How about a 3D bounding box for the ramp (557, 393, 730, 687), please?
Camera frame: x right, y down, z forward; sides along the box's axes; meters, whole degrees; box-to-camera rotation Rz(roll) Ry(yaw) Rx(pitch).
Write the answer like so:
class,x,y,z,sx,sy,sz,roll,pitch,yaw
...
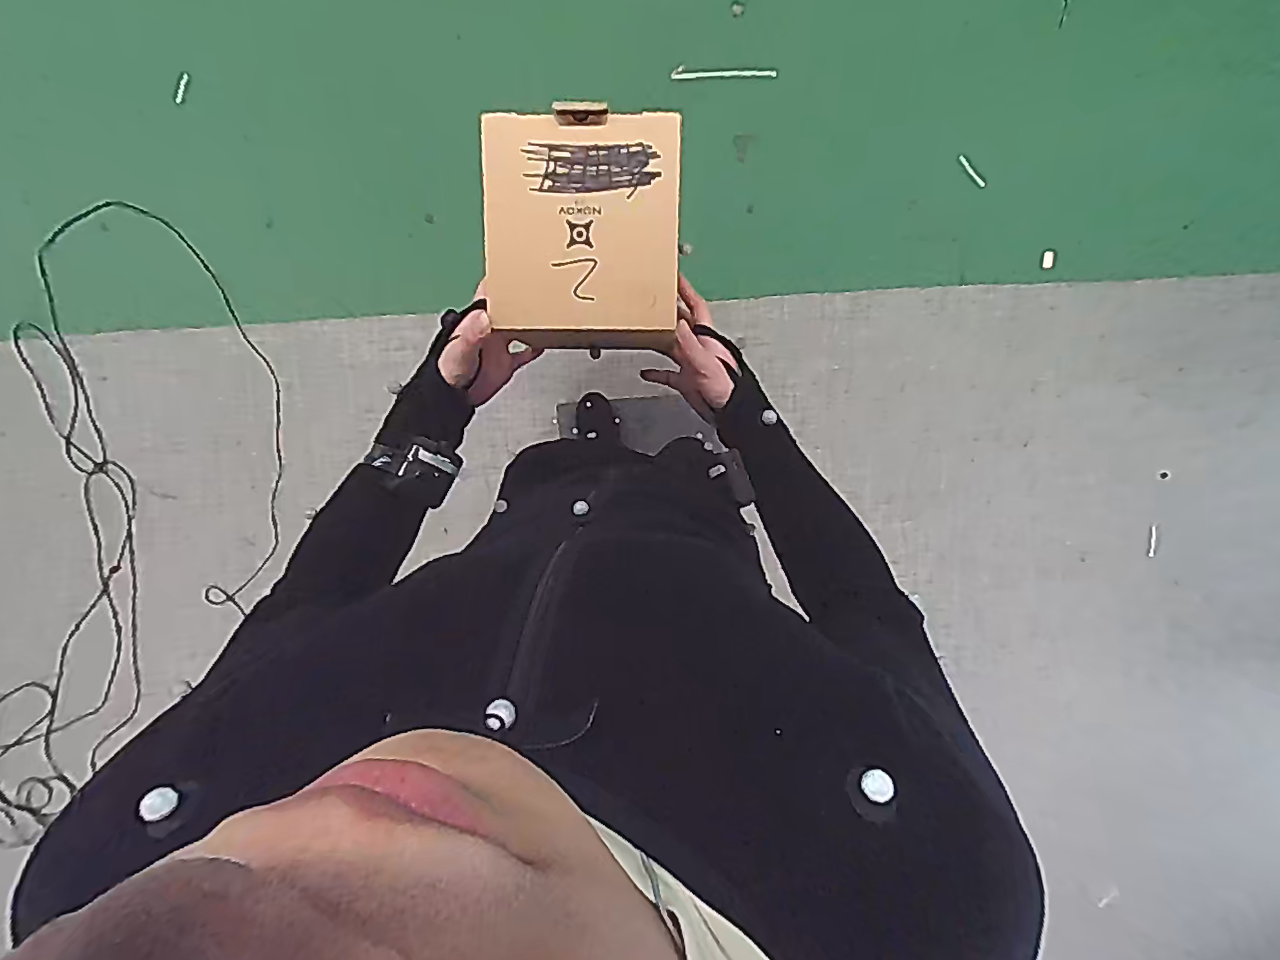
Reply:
class,x,y,z,sx,sy,sz,roll,pitch,yaw
ramp,0.037,0.232,1.729,0.509,0.206,0.991,-6,99,-1
